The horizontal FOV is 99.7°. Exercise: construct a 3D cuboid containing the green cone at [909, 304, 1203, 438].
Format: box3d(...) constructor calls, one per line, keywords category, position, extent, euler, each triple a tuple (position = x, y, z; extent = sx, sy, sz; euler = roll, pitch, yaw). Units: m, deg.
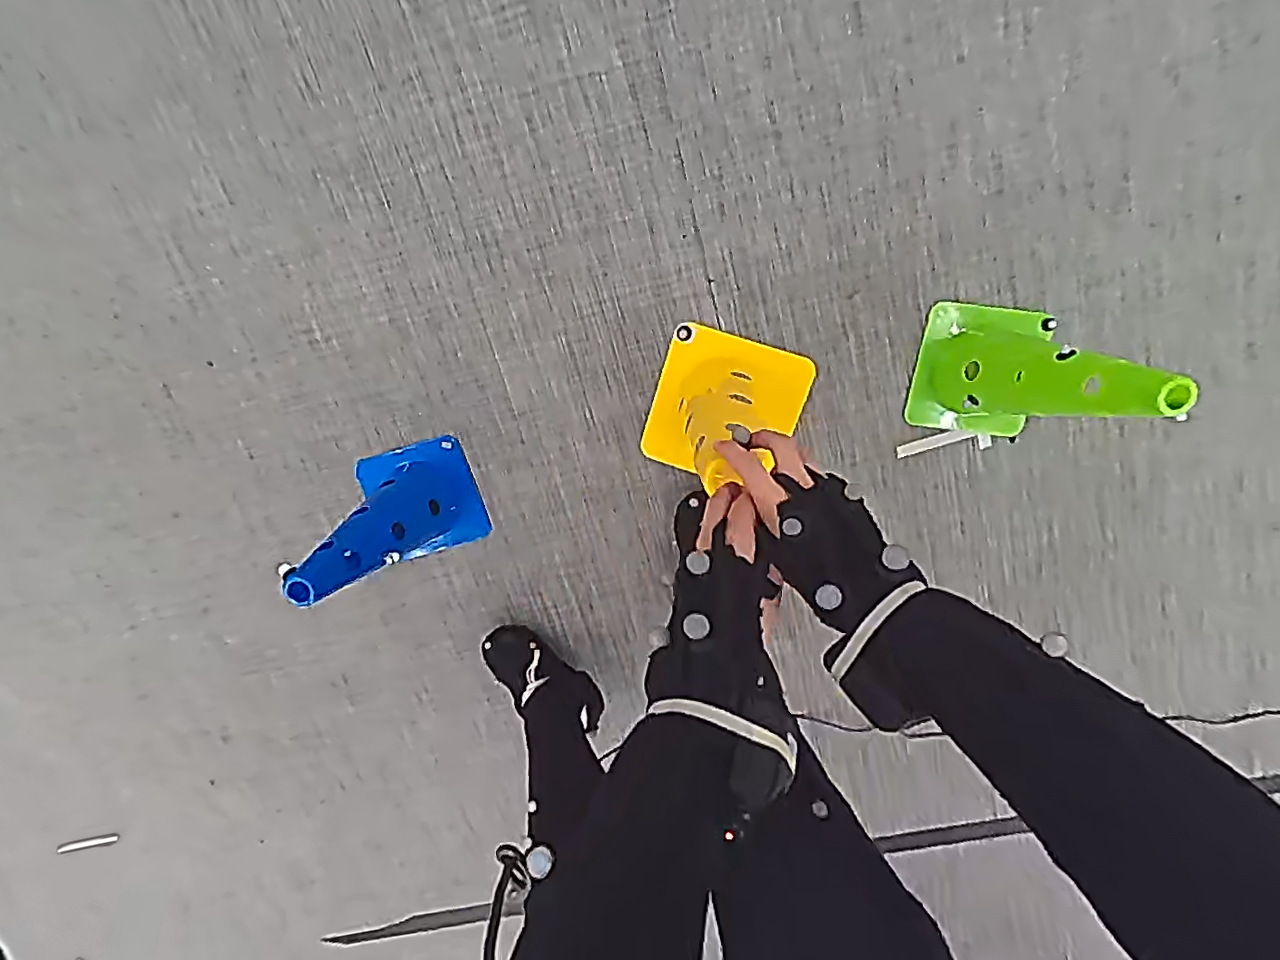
box3d(category="green cone", position=(0.546, -0.125, 0.710), extent=(0.200, 0.368, 0.202), euler=(6, 107, 0))
